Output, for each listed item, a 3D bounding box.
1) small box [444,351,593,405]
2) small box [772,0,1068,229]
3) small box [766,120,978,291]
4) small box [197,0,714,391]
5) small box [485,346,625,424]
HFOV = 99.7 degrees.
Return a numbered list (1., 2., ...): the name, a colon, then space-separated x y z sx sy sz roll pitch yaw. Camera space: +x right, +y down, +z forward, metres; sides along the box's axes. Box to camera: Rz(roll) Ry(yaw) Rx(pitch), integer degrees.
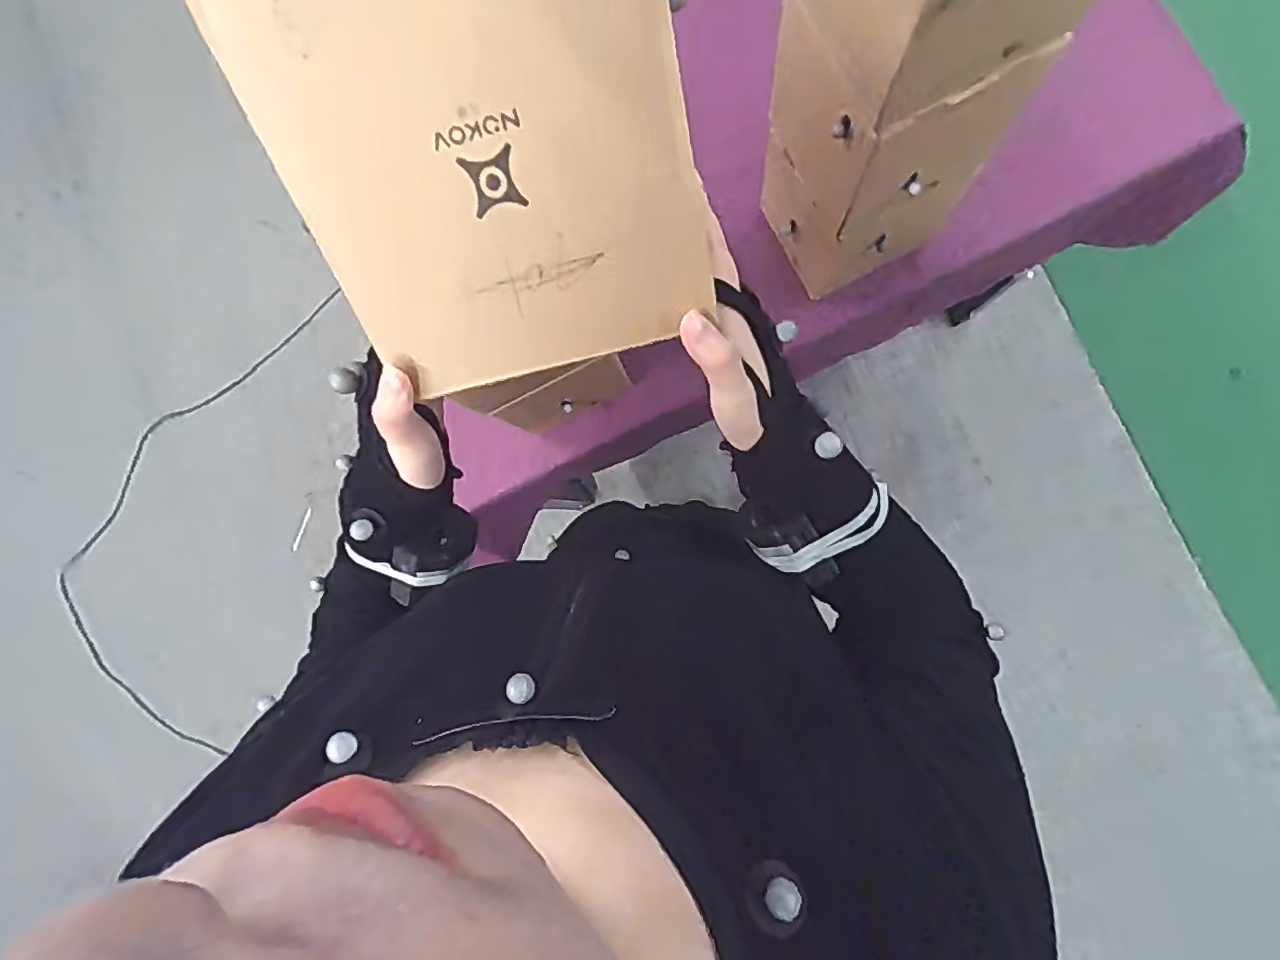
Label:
1. small box: -0.158 -0.197 0.567 0.179 0.176 0.168 -26 83 5
2. small box: 0.242 -0.388 0.524 0.168 0.176 0.179 -25 83 5
3. small box: 0.271 -0.372 0.684 0.179 0.176 0.168 -27 83 6
4. small box: -0.064 -0.174 0.285 0.168 0.176 0.179 -11 125 6
5. small box: -0.133 -0.187 0.729 0.168 0.176 0.179 -26 83 5
